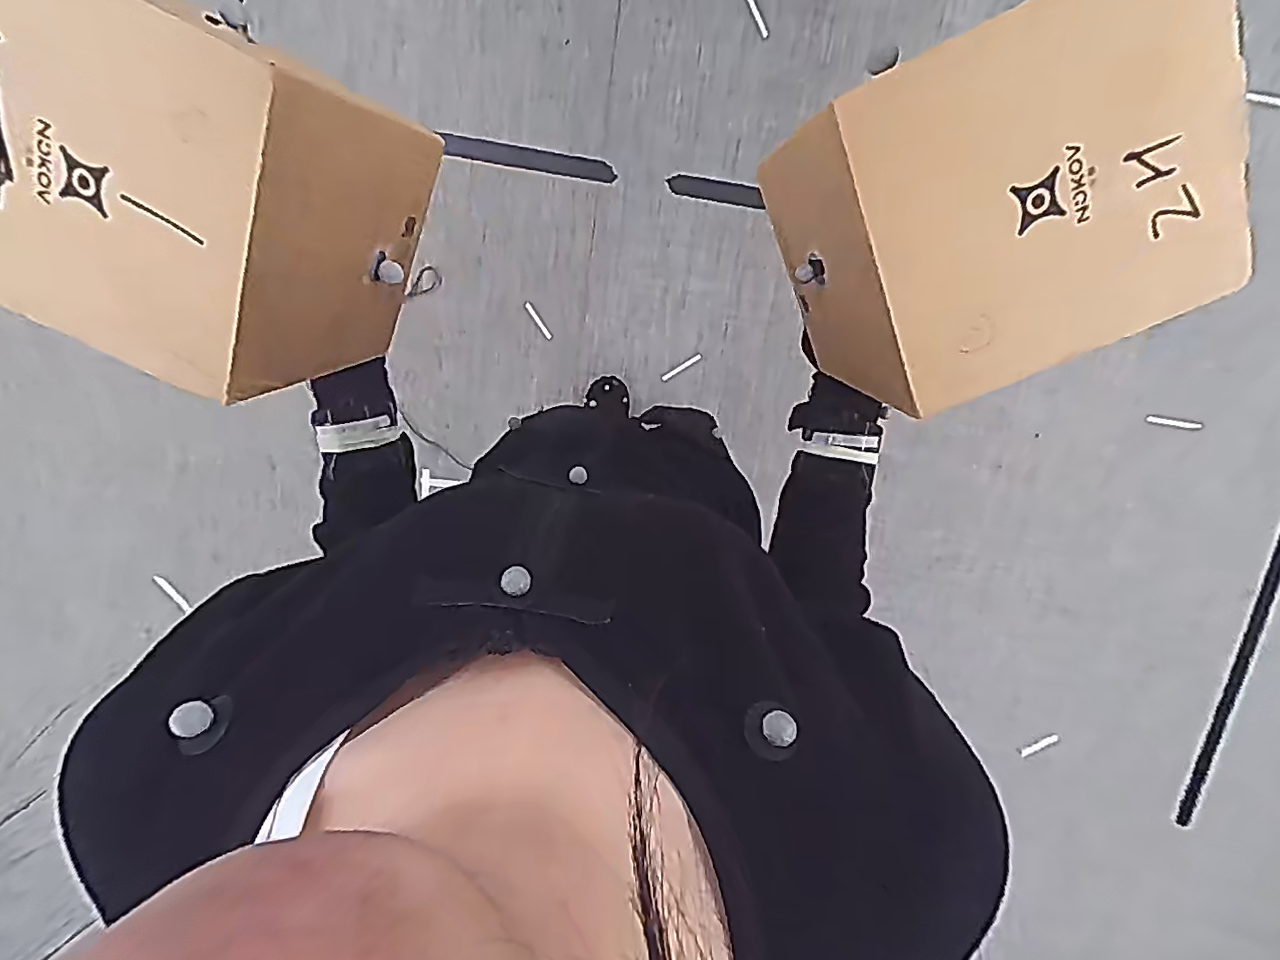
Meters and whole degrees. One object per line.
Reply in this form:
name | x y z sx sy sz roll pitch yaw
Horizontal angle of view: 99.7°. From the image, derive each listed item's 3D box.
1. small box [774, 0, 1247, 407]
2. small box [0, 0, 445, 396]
small box | 0.197 -0.166 0.336 0.179 0.176 0.168 -23 110 7
small box | -0.250 -0.175 0.323 0.179 0.176 0.168 25 113 -6
